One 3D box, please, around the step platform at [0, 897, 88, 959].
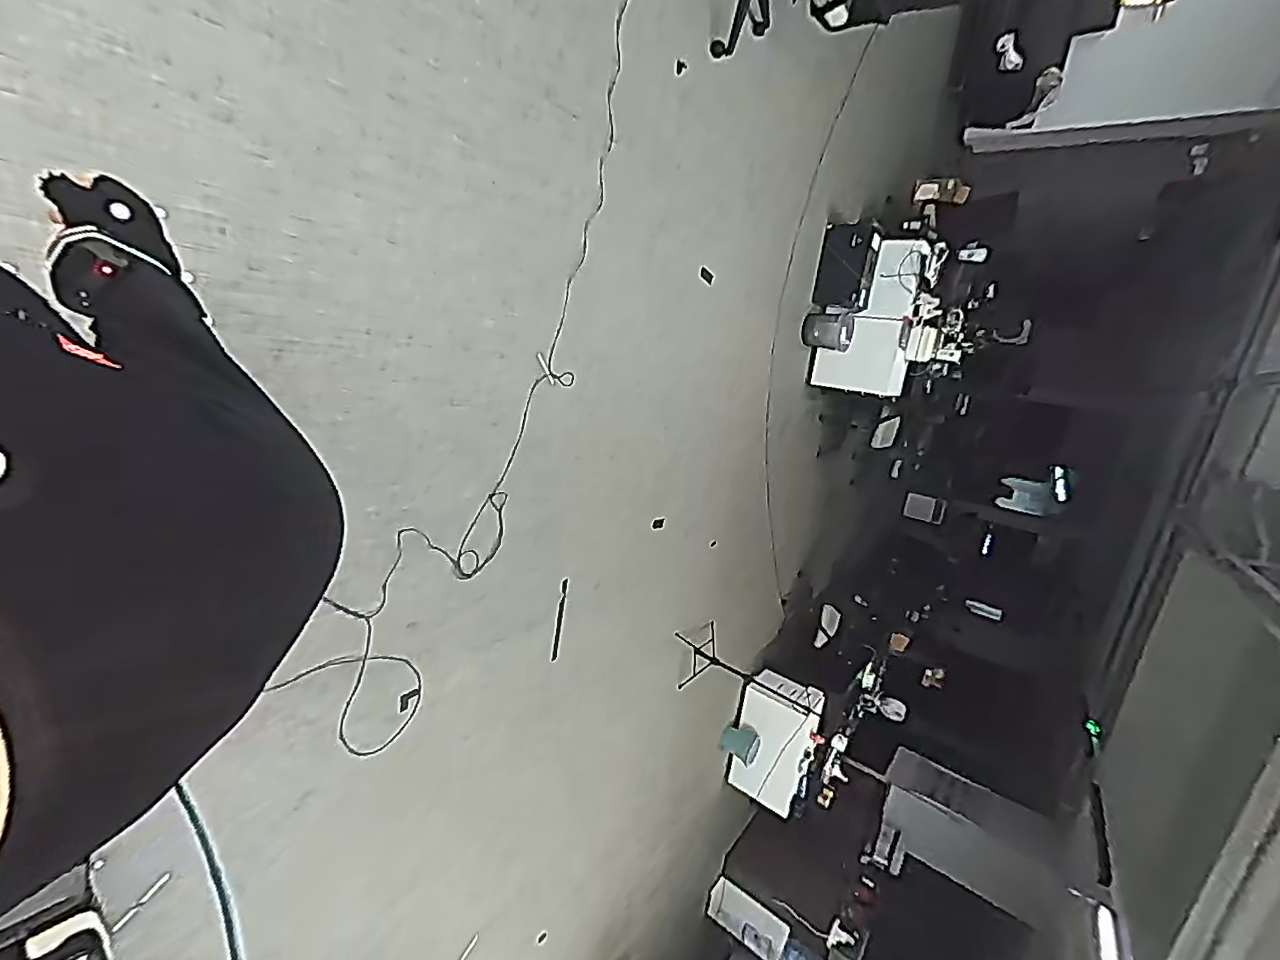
[{"bbox_3d":[-1.467,1.131,0.964,0.684,0.204,0.286,-12,114,-51],"label":"step platform"}]
